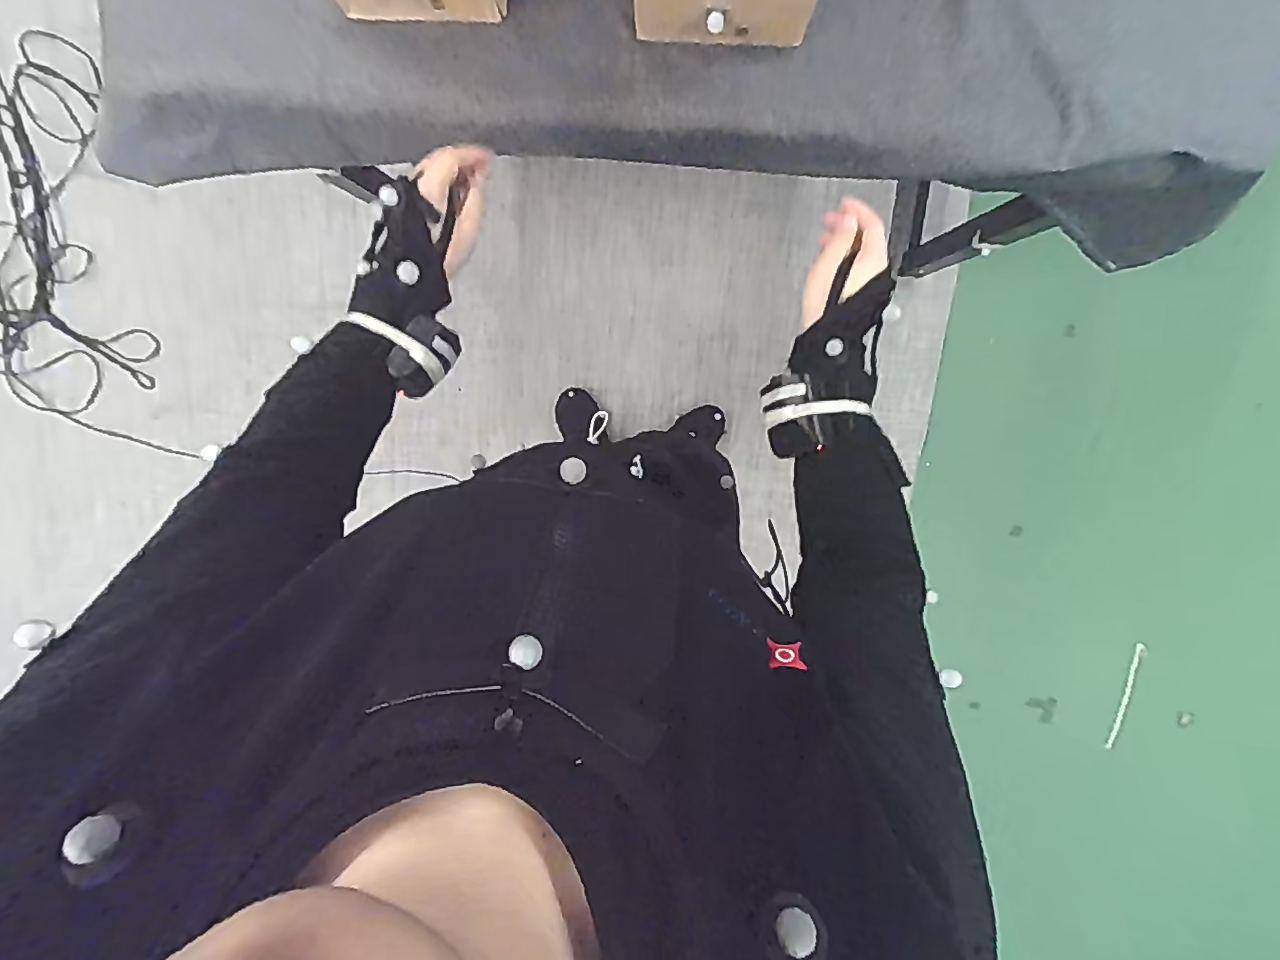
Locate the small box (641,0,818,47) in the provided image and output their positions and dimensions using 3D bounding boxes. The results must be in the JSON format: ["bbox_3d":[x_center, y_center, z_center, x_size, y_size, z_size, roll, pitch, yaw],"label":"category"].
[{"bbox_3d":[0.083,-0.510,0.448,0.168,0.176,0.179,4,101,2],"label":"small box"}]

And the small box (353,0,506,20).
[{"bbox_3d":[-0.214,-0.543,0.456,0.168,0.176,0.179,2,101,2],"label":"small box"}]
